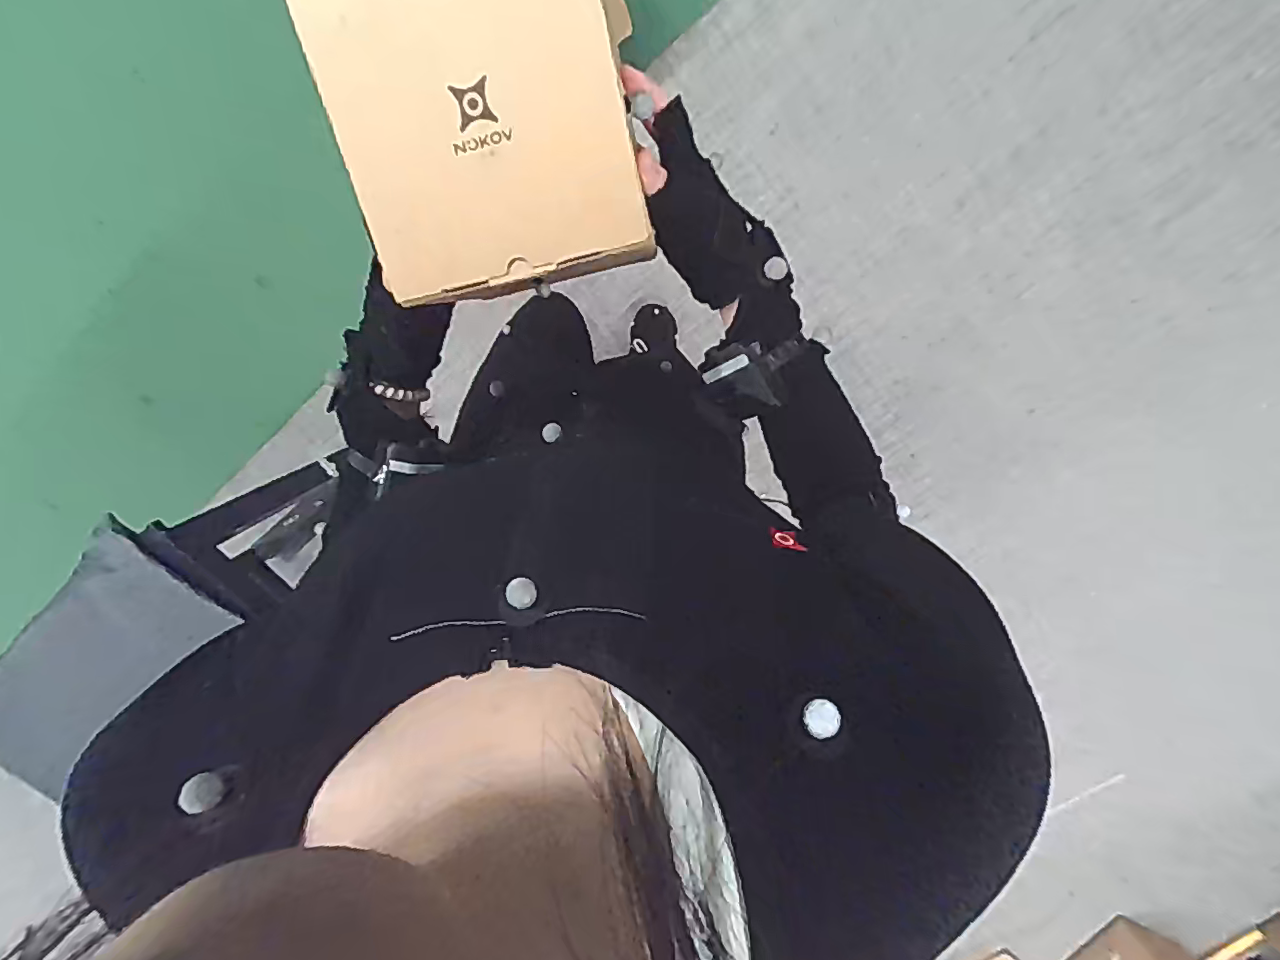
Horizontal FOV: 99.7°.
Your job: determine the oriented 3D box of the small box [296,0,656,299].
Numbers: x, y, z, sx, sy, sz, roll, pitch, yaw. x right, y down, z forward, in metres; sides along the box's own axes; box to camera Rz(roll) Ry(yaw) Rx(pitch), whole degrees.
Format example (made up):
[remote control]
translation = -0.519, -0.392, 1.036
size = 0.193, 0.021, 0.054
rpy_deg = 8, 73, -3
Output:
[small box]
translation = -0.087, -0.234, 0.378
size = 0.168, 0.176, 0.179
rpy_deg = -12, 110, 6
